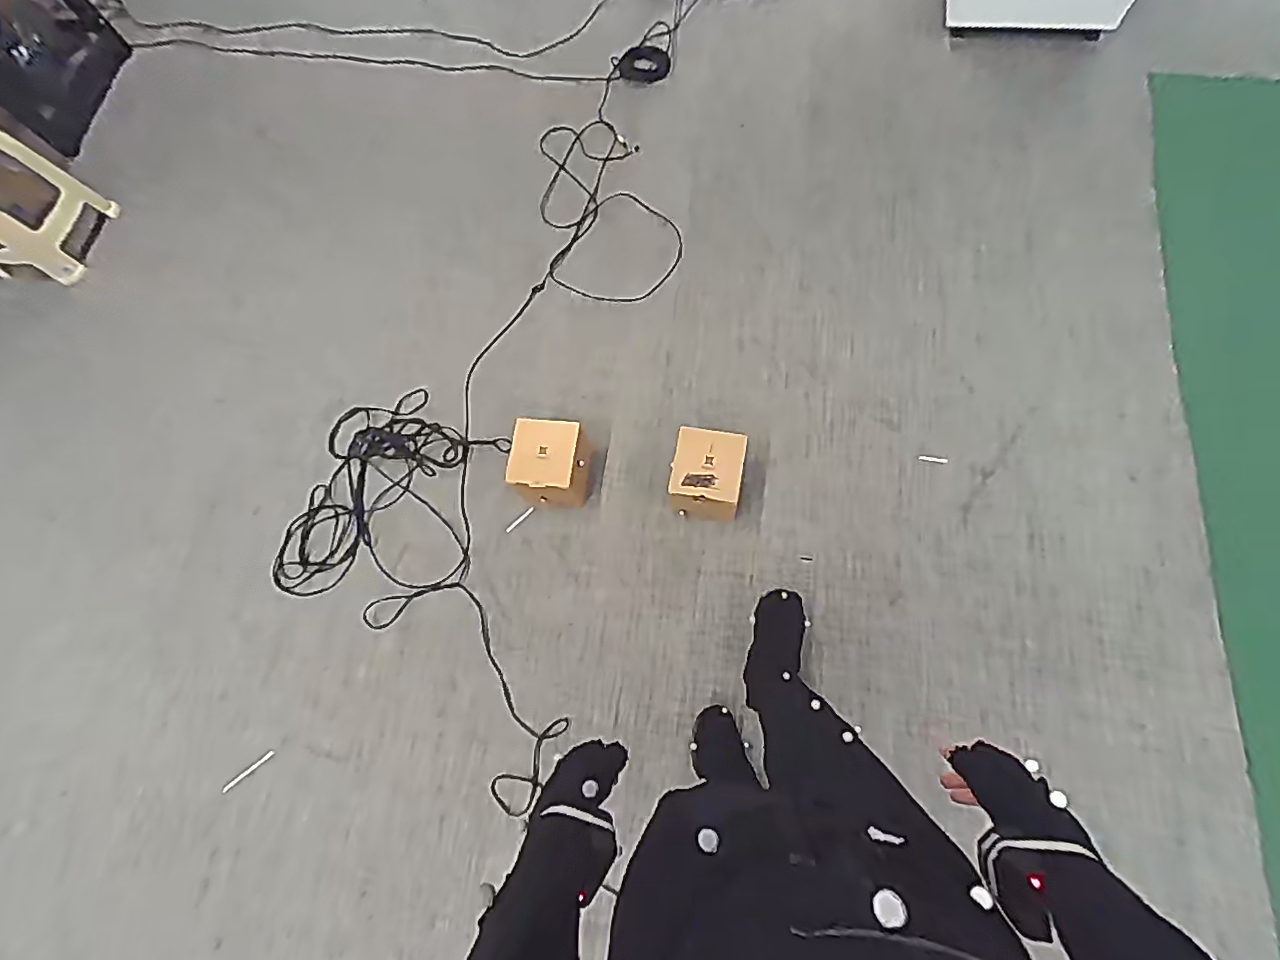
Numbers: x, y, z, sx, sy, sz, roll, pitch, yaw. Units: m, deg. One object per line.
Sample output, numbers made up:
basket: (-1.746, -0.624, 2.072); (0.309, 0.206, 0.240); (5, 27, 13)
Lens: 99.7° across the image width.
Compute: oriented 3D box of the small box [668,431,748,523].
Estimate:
small box: (0.172, -0.001, 1.359); (0.168, 0.176, 0.179); (9, 73, 10)

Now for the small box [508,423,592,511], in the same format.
small box: (-0.226, -0.031, 1.414); (0.168, 0.176, 0.179); (5, 73, 8)
